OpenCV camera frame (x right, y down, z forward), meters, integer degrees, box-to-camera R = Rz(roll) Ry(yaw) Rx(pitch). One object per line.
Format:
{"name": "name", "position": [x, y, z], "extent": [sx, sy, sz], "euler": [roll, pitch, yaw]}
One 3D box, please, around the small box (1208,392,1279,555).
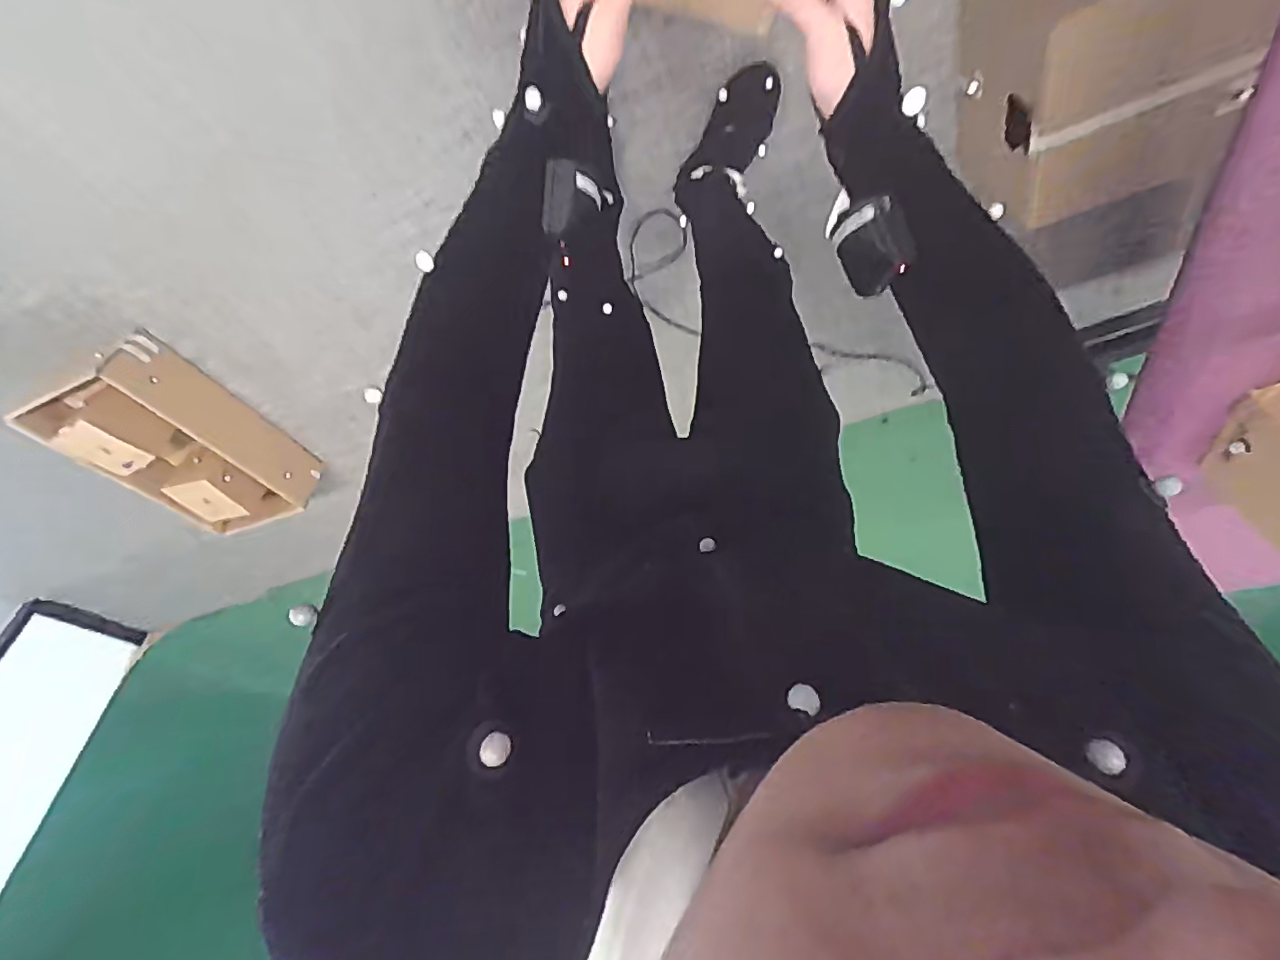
{"name": "small box", "position": [0.857, -0.016, 0.638], "extent": [0.179, 0.176, 0.168], "euler": [-16, 137, 16]}

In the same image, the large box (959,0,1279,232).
{"name": "large box", "position": [0.788, -0.685, 0.866], "extent": [0.408, 0.320, 0.320], "euler": [-18, 138, 17]}

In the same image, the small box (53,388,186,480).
{"name": "small box", "position": [-1.433, -0.134, 1.501], "extent": [0.168, 0.176, 0.179], "euler": [-19, 138, 20]}
